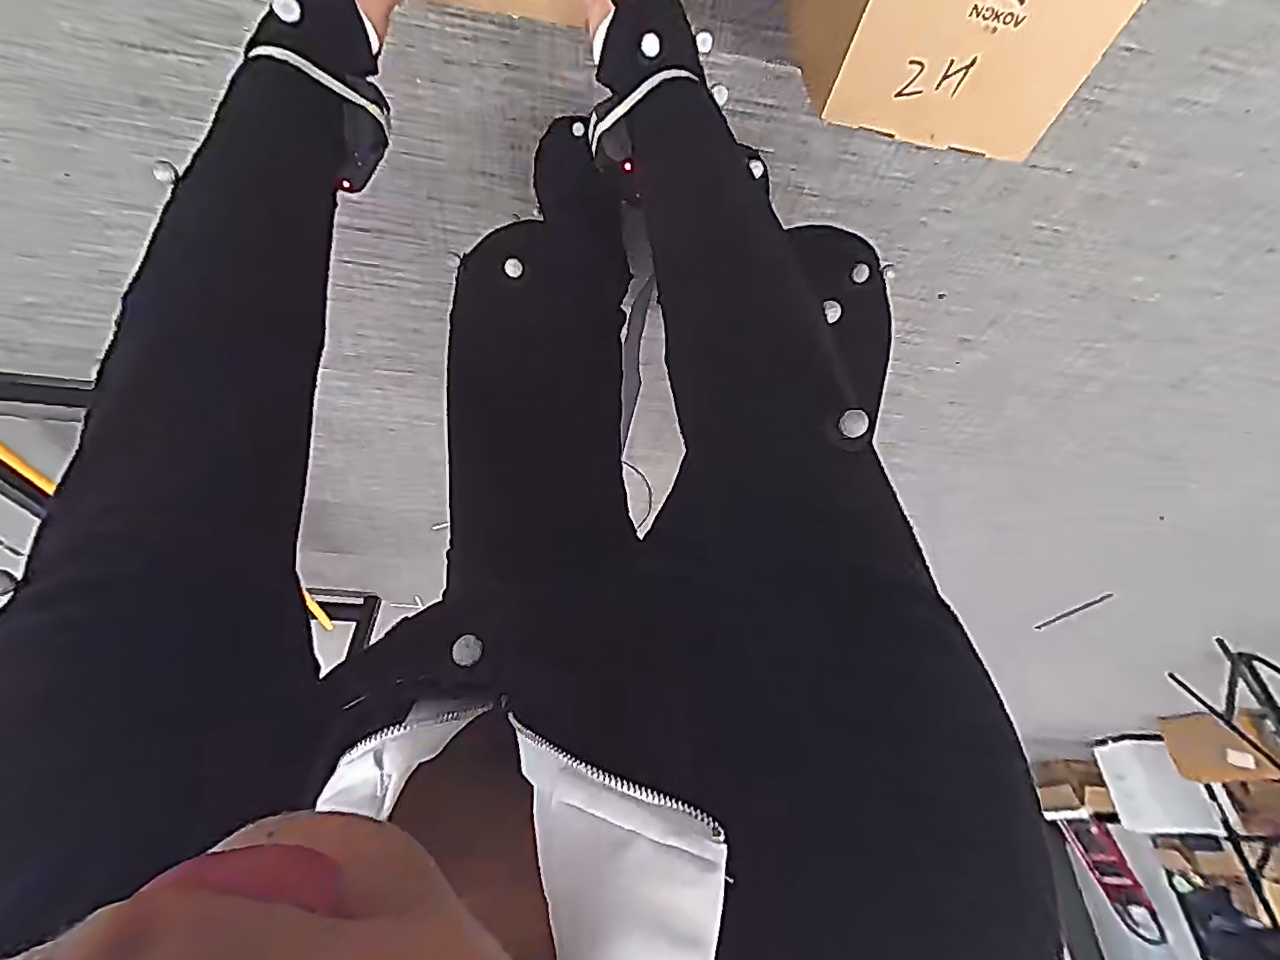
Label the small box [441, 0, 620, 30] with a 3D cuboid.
[{"bbox_3d":[-0.093,-0.519,0.452,0.179,0.176,0.168,4,146,-6],"label":"small box"}]

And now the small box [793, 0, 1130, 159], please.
[{"bbox_3d":[0.220,-0.366,0.374,0.168,0.176,0.179,7,146,-8],"label":"small box"}]
